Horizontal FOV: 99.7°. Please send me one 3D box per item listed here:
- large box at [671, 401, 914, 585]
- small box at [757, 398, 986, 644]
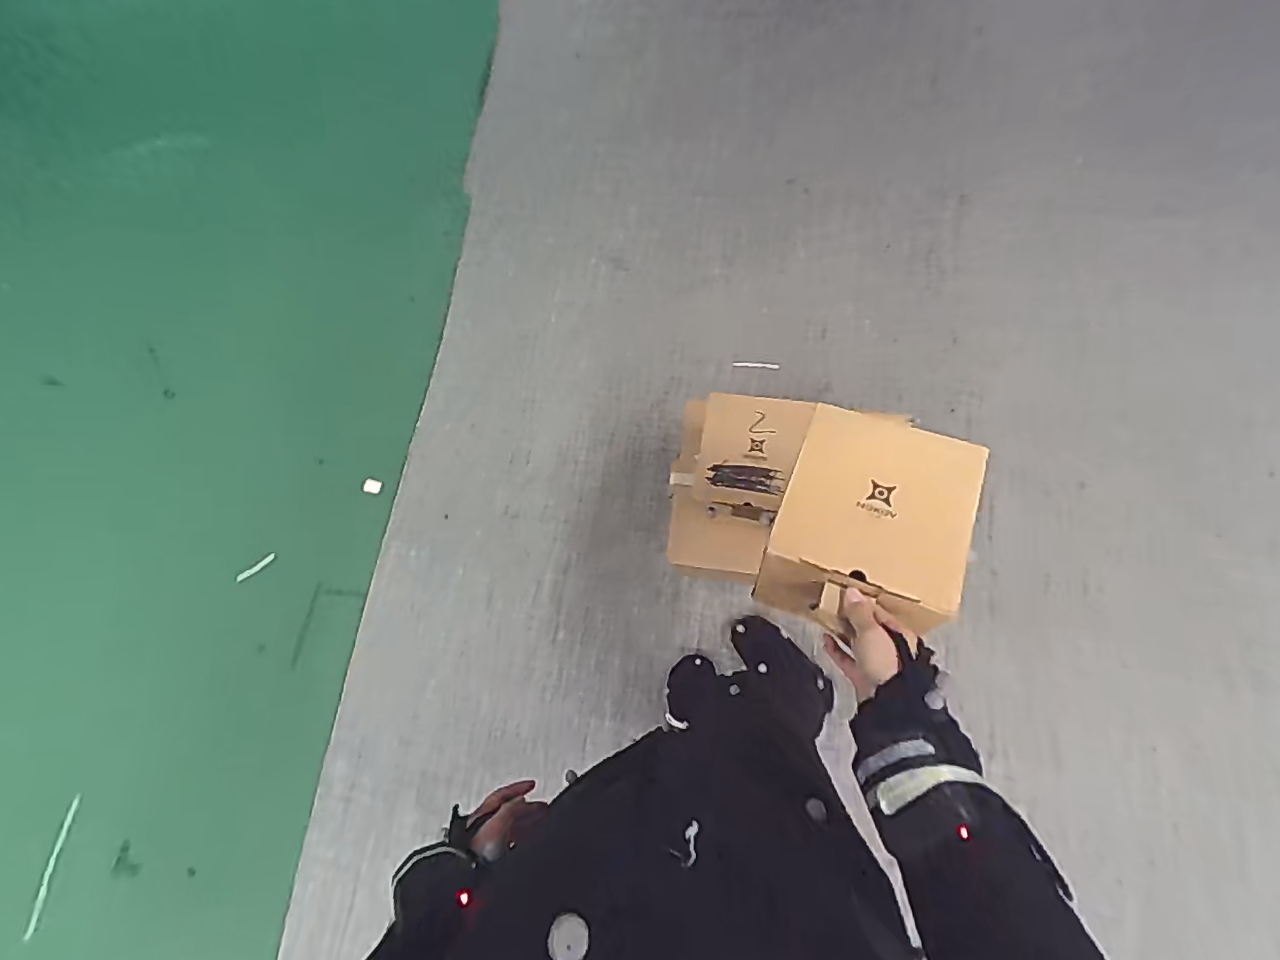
[{"bbox_3d":[0.286,0.052,1.091,0.408,0.320,0.320,6,78,10],"label":"large box"},{"bbox_3d":[0.230,0.049,0.573,0.168,0.176,0.179,19,66,16],"label":"small box"}]
